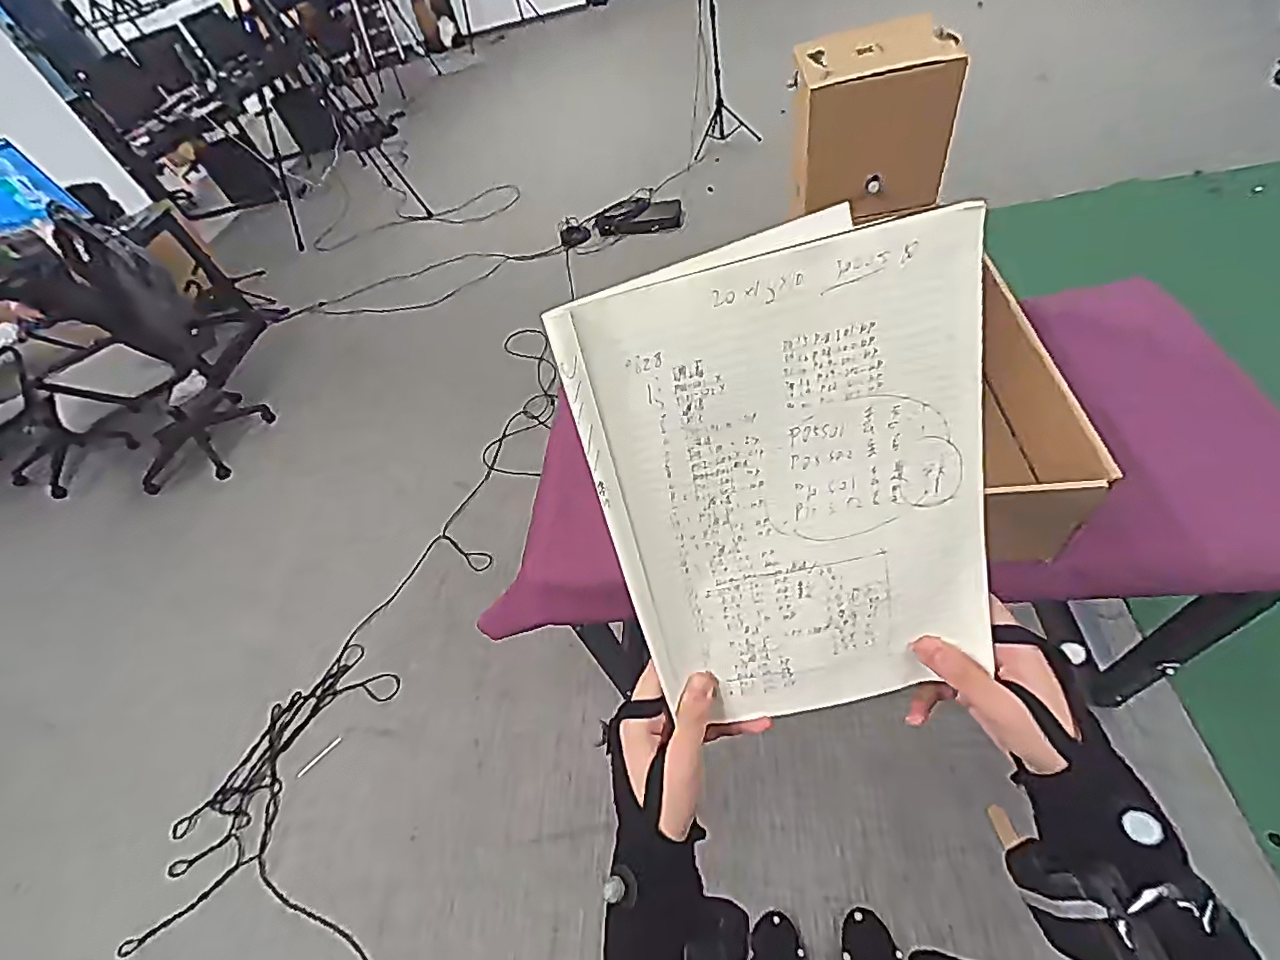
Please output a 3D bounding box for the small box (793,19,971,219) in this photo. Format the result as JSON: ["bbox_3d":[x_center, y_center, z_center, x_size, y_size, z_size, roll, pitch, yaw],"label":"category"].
[{"bbox_3d":[0.308,-0.481,0.732,0.179,0.176,0.168,-4,52,10],"label":"small box"}]

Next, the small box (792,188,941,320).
[{"bbox_3d":[0.343,-0.379,0.856,0.179,0.176,0.168,-6,51,10],"label":"small box"}]
